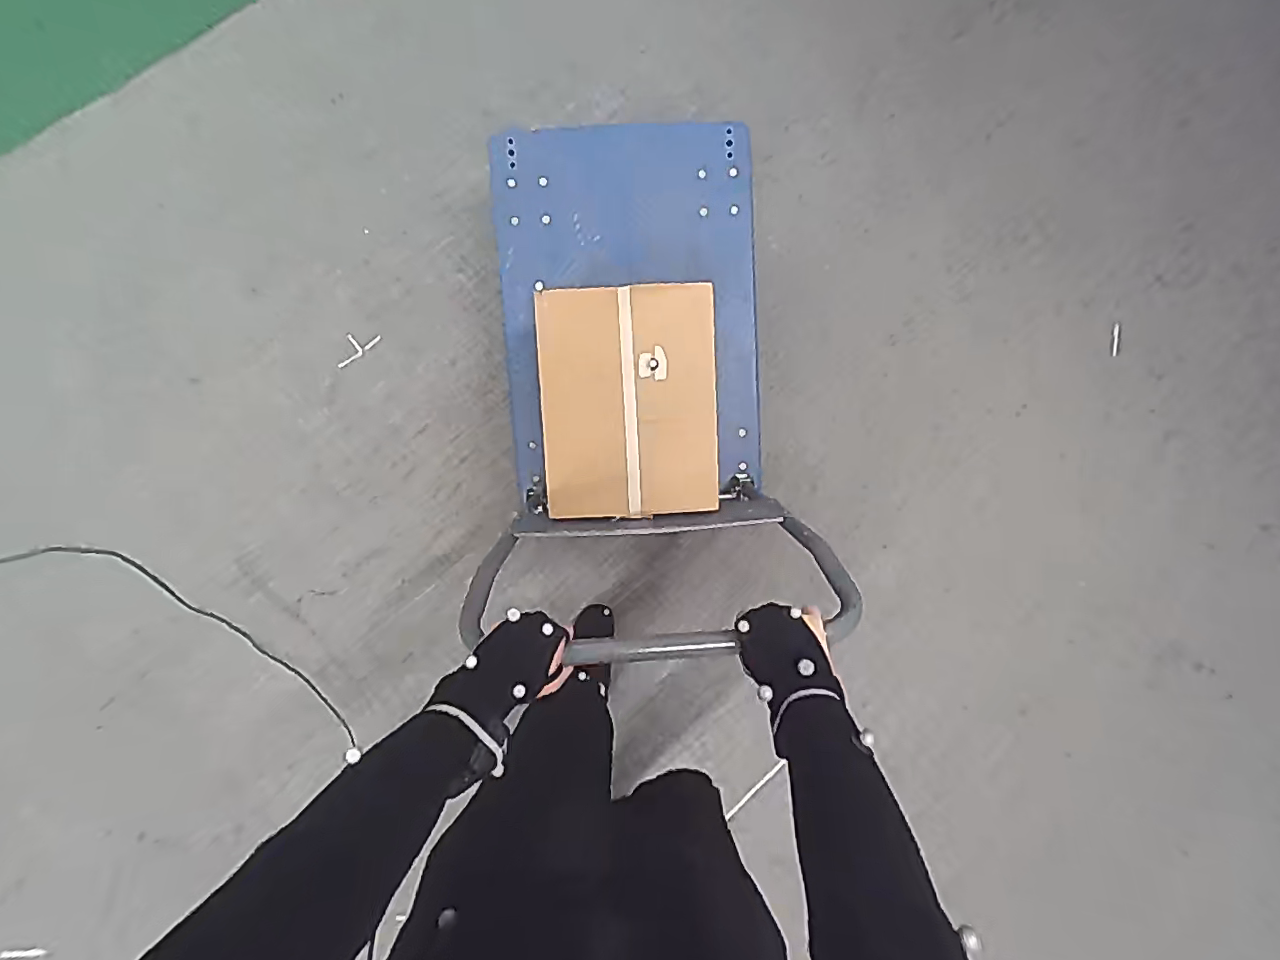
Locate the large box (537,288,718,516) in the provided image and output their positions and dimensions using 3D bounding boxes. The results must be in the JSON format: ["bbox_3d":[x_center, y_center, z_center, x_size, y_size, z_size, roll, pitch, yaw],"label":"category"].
[{"bbox_3d":[-0.022,-0.151,1.135,0.320,0.320,0.408,-3,95,-2],"label":"large box"}]
